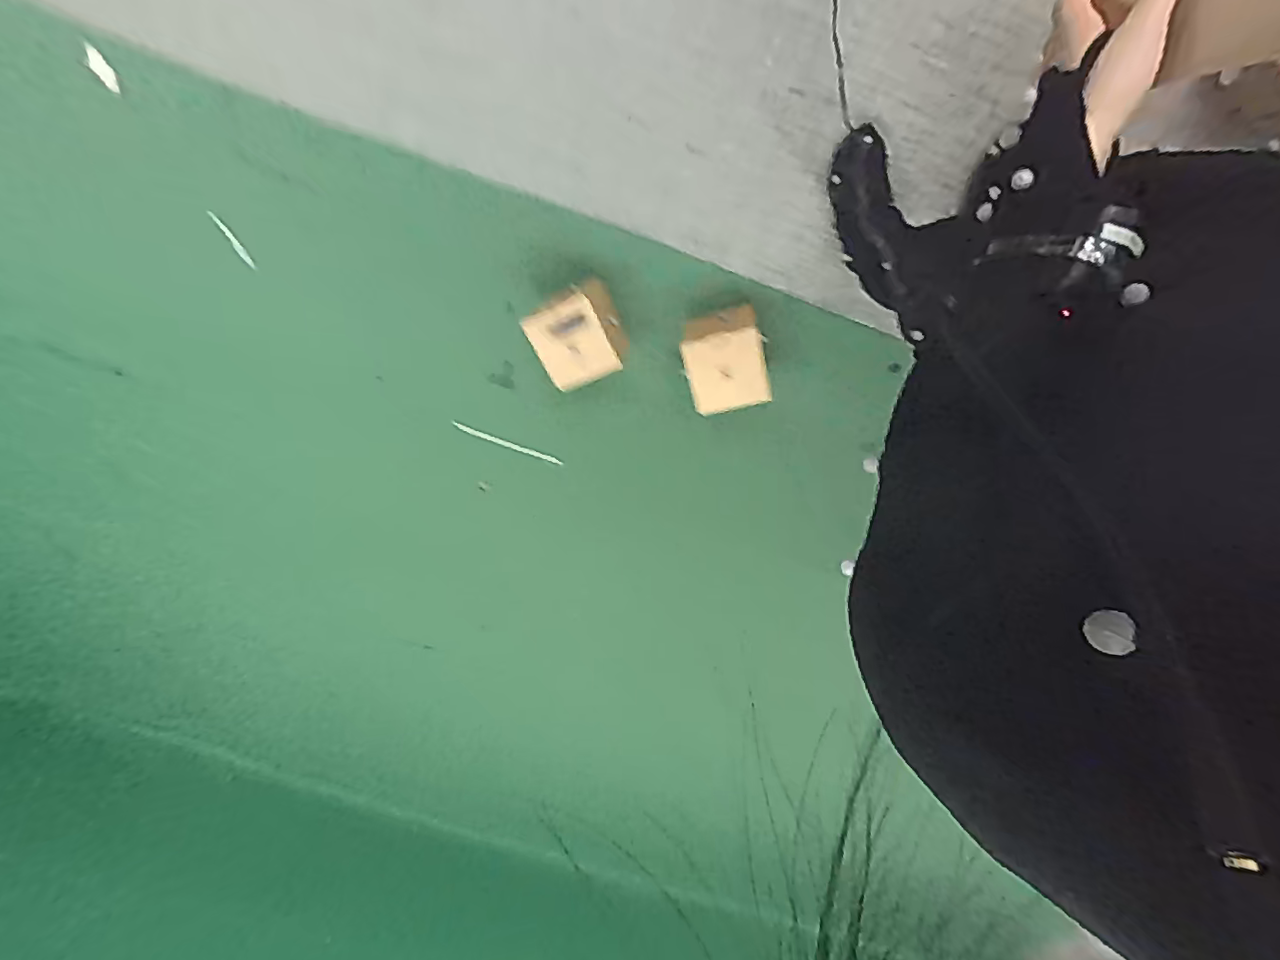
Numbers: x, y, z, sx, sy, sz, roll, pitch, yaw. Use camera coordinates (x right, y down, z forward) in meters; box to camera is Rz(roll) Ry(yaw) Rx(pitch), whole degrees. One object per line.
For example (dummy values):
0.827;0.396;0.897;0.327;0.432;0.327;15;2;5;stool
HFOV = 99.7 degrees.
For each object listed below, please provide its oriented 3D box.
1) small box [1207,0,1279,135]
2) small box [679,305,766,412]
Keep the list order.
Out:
1.092;-0.690;0.875;0.168;0.176;0.179;37;118;-16;small box
0.195;-0.284;1.260;0.168;0.176;0.179;-11;120;14;small box
